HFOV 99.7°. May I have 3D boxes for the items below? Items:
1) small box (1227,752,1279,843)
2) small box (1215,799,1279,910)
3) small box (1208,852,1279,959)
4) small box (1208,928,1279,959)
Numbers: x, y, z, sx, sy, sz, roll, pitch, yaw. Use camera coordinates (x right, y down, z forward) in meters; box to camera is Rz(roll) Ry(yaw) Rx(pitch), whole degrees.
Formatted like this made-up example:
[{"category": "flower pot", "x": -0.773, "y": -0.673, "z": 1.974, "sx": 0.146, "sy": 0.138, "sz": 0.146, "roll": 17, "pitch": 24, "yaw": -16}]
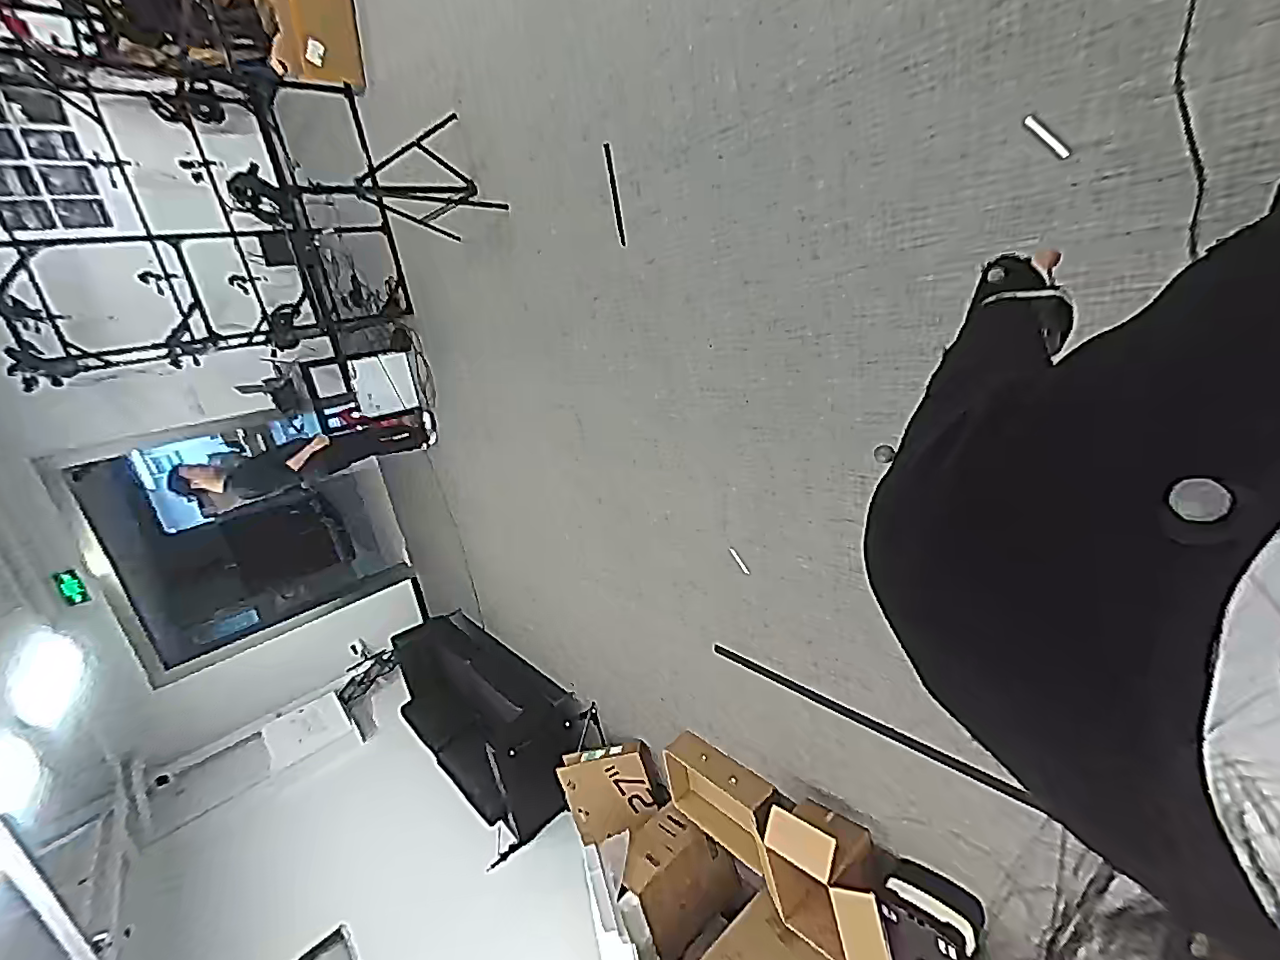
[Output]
[{"category": "small box", "x": 1.359, "y": 0.703, "z": 1.108, "sx": 0.179, "sy": 0.176, "sz": 0.168, "roll": 17, "pitch": 122, "yaw": 47}, {"category": "small box", "x": 1.233, "y": 0.760, "z": 1.019, "sx": 0.168, "sy": 0.176, "sz": 0.179, "roll": 16, "pitch": 121, "yaw": 46}, {"category": "small box", "x": 1.110, "y": 0.799, "z": 0.920, "sx": 0.168, "sy": 0.176, "sz": 0.179, "roll": 16, "pitch": 120, "yaw": 46}, {"category": "small box", "x": 0.986, "y": 0.859, "z": 0.830, "sx": 0.168, "sy": 0.176, "sz": 0.179, "roll": 11, "pitch": 117, "yaw": 48}]
